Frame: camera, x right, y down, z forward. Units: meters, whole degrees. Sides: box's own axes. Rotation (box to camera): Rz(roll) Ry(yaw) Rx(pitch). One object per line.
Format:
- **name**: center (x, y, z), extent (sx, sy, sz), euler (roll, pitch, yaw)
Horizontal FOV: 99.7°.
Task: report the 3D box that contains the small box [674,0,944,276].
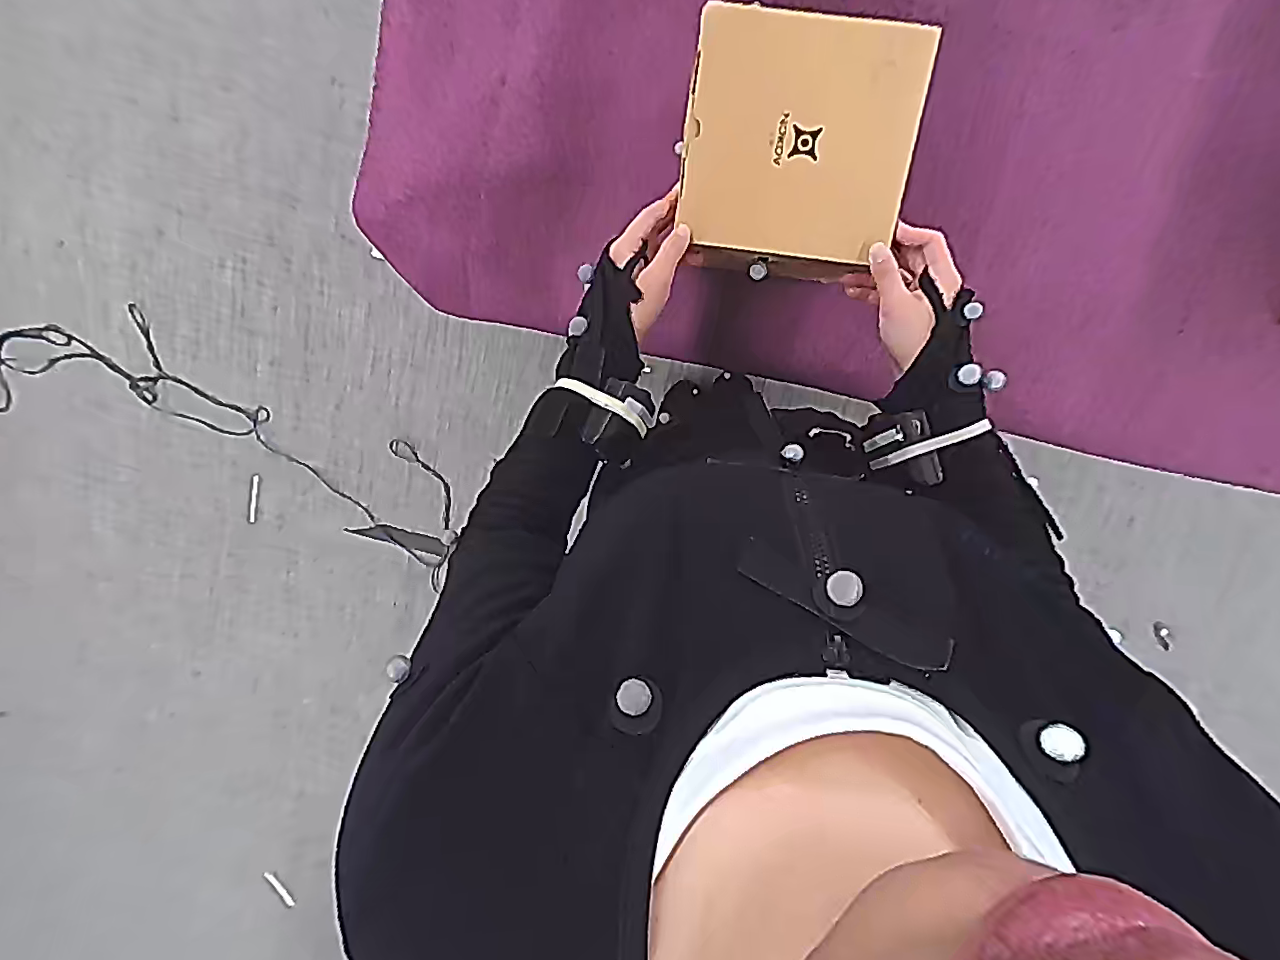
- **small box**: center (0.128, -0.284, 0.489), extent (0.179, 0.176, 0.168), euler (8, 106, 2)
